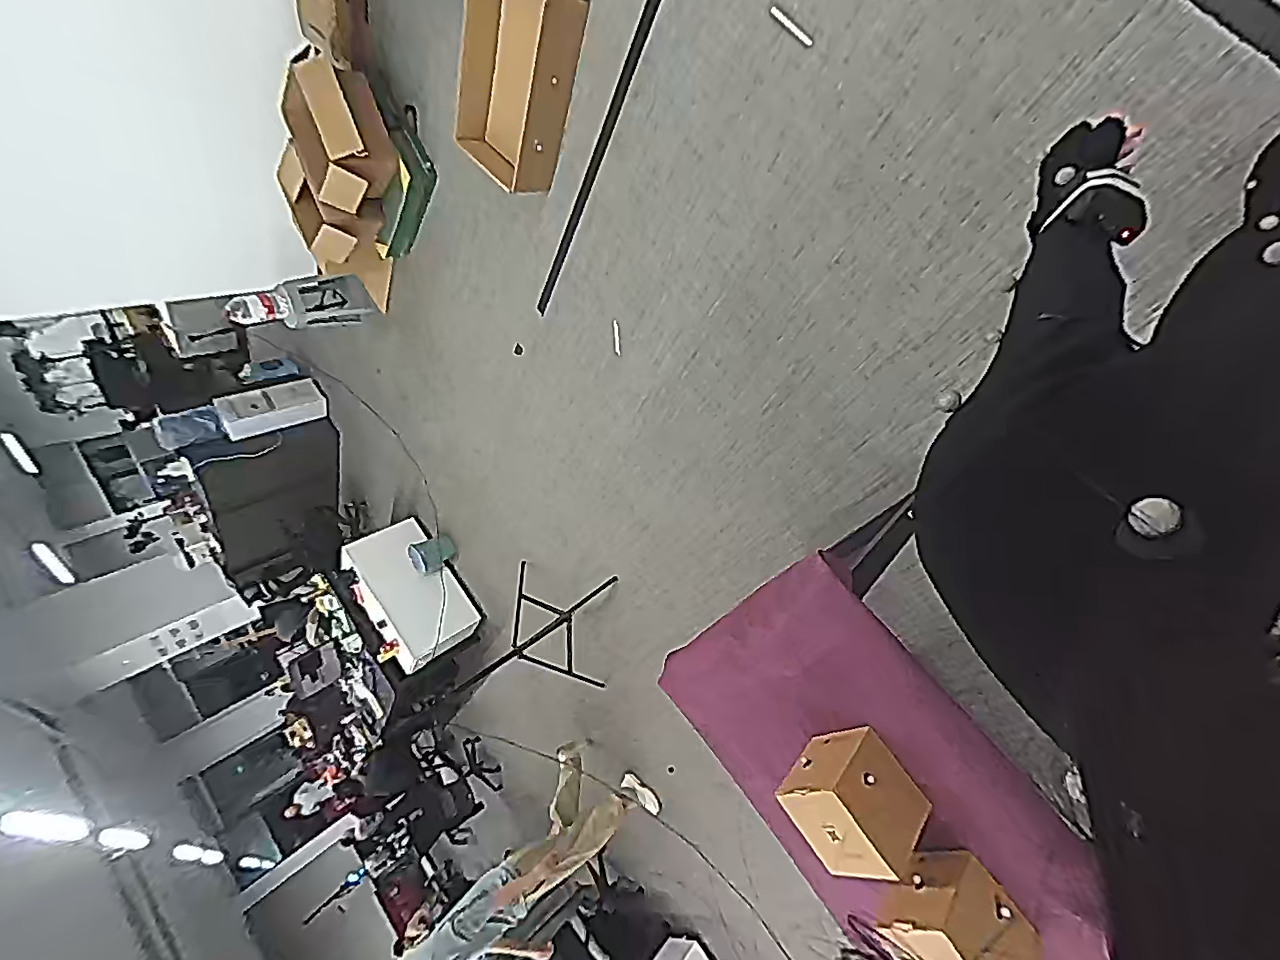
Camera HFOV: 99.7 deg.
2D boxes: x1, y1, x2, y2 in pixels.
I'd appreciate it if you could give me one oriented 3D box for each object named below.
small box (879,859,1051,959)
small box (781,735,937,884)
[{"bbox_3d":[0.569,0.803,0.948,0.179,0.176,0.168,52,140,13],"label":"small box"},{"bbox_3d":[0.407,0.600,1.008,0.179,0.176,0.168,52,141,10],"label":"small box"}]
